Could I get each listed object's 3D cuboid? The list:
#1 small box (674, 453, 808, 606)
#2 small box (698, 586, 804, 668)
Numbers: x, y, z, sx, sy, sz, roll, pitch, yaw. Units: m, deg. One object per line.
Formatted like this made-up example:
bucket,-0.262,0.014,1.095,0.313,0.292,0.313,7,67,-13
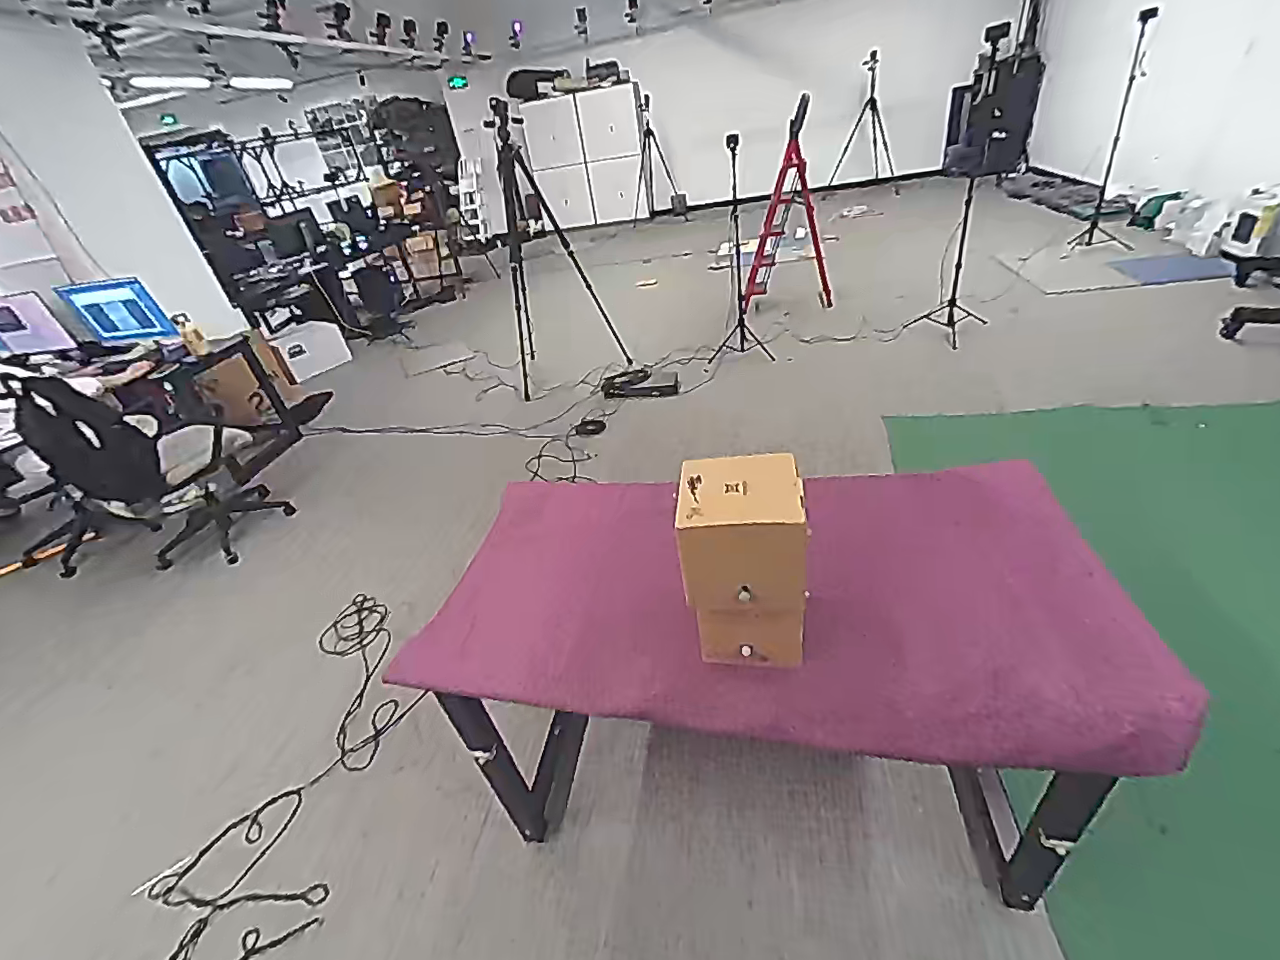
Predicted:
small box,0.154,0.075,0.816,0.179,0.176,0.168,-3,35,12
small box,0.191,0.193,0.927,0.168,0.176,0.179,-1,35,15
